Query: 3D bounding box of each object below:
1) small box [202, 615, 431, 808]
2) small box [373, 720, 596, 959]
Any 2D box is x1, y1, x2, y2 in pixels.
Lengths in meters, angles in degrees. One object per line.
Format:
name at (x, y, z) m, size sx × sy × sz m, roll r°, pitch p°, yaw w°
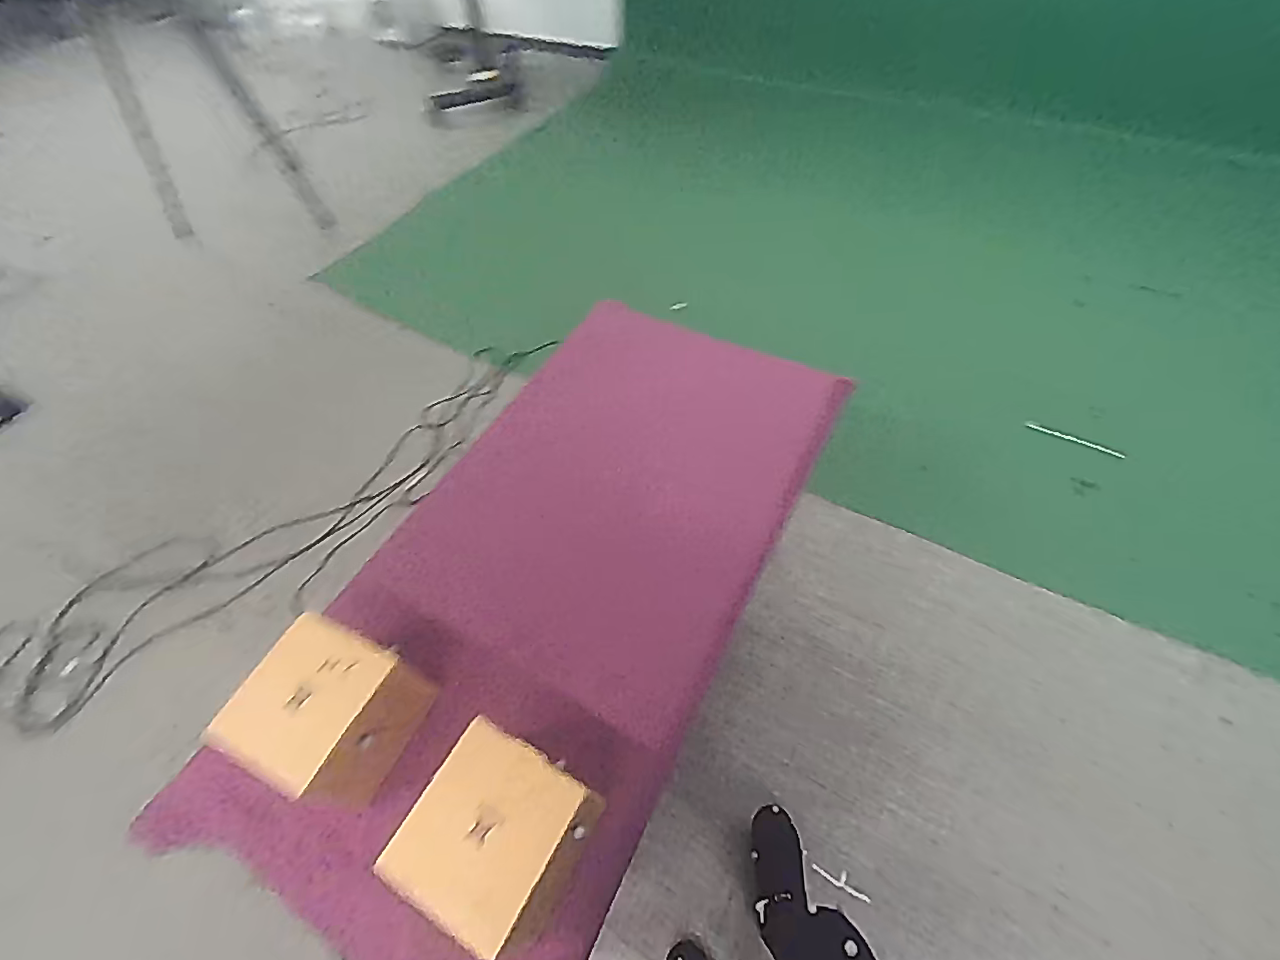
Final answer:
small box at (-0.422, 0.322, 0.742) m, size 0.168 × 0.176 × 0.179 m, roll 20°, pitch 58°, yaw 16°
small box at (-0.168, 0.428, 0.650) m, size 0.168 × 0.176 × 0.179 m, roll 22°, pitch 58°, yaw 20°
